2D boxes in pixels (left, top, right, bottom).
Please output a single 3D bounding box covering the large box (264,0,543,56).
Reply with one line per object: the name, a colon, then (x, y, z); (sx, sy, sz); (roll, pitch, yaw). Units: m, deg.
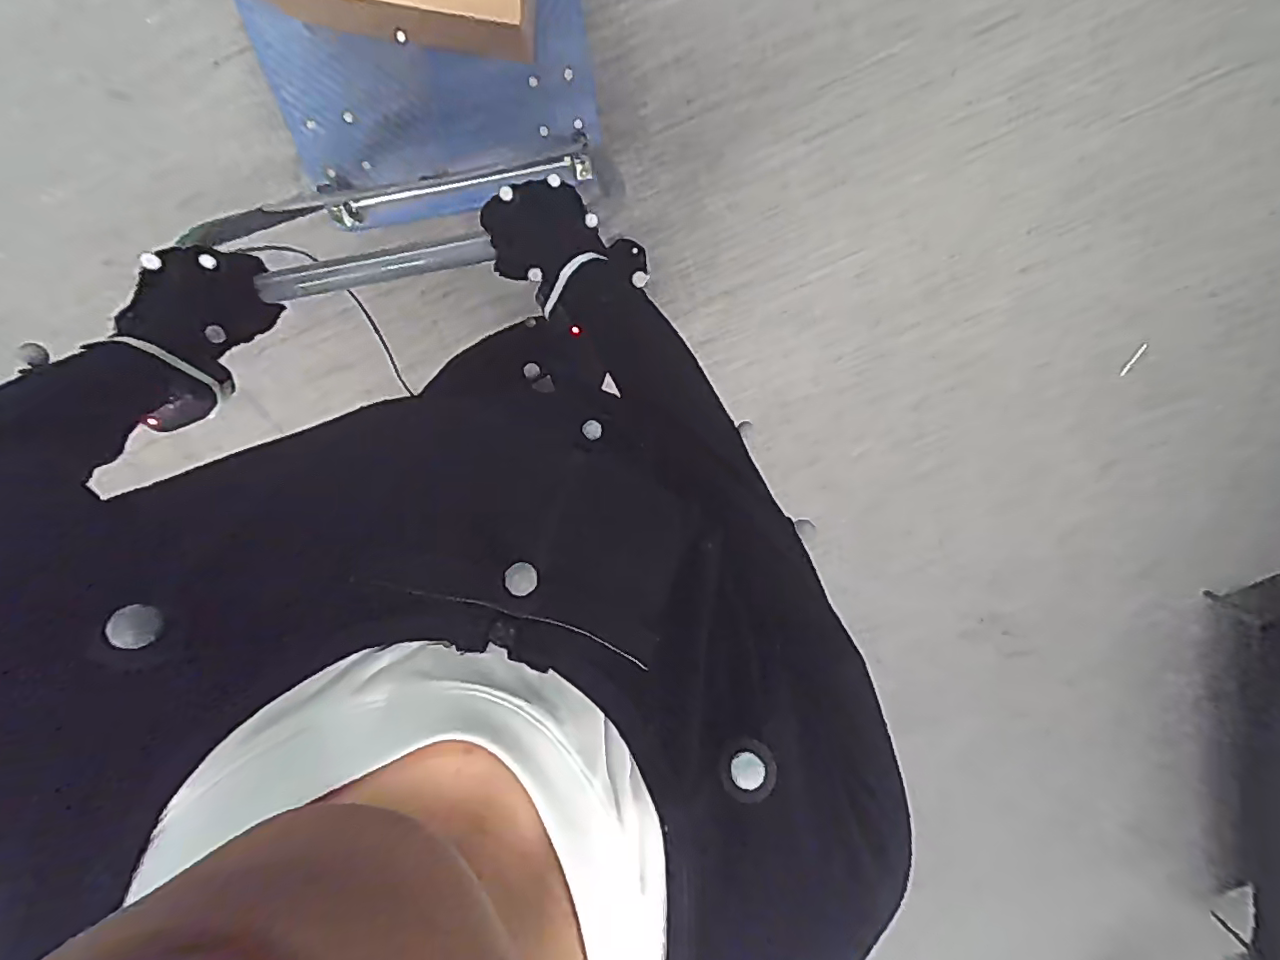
large box: (-0.348, -0.844, 0.774); (0.408, 0.320, 0.320); (3, 119, -8)
